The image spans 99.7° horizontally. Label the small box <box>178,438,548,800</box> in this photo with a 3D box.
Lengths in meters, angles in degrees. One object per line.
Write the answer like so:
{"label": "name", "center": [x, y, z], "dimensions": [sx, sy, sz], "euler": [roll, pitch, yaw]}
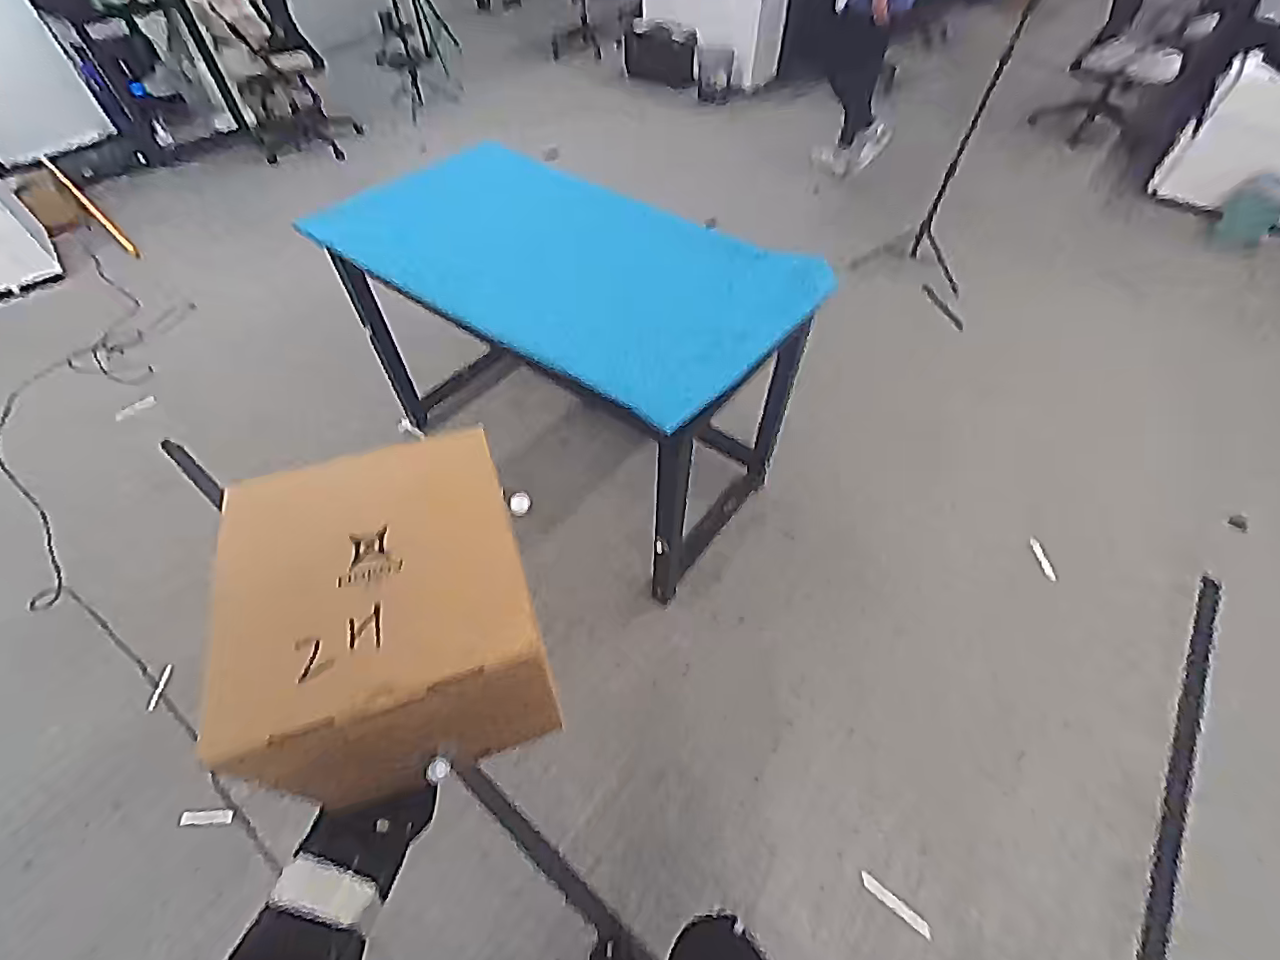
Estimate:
{"label": "small box", "center": [-0.168, 0.101, 0.383], "dimensions": [0.168, 0.176, 0.179], "euler": [-13, 56, -10]}
